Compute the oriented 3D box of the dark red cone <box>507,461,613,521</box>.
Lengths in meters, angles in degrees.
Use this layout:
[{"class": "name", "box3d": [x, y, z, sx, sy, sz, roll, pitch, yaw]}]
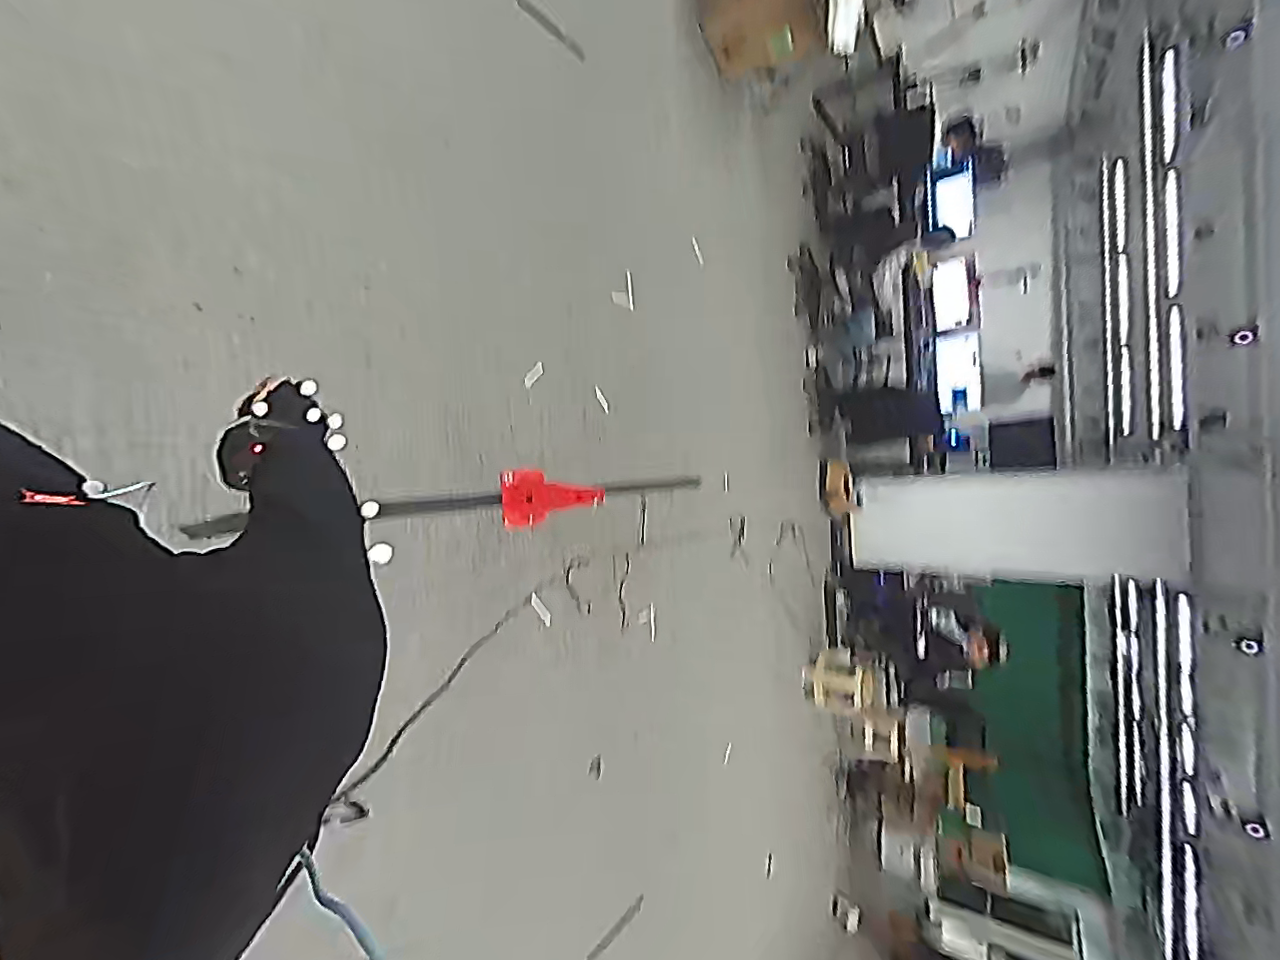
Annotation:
[{"class": "dark red cone", "box3d": [-0.259, 0.034, 1.807, 0.202, 0.394, 0.201, -7, 95, -56]}]
